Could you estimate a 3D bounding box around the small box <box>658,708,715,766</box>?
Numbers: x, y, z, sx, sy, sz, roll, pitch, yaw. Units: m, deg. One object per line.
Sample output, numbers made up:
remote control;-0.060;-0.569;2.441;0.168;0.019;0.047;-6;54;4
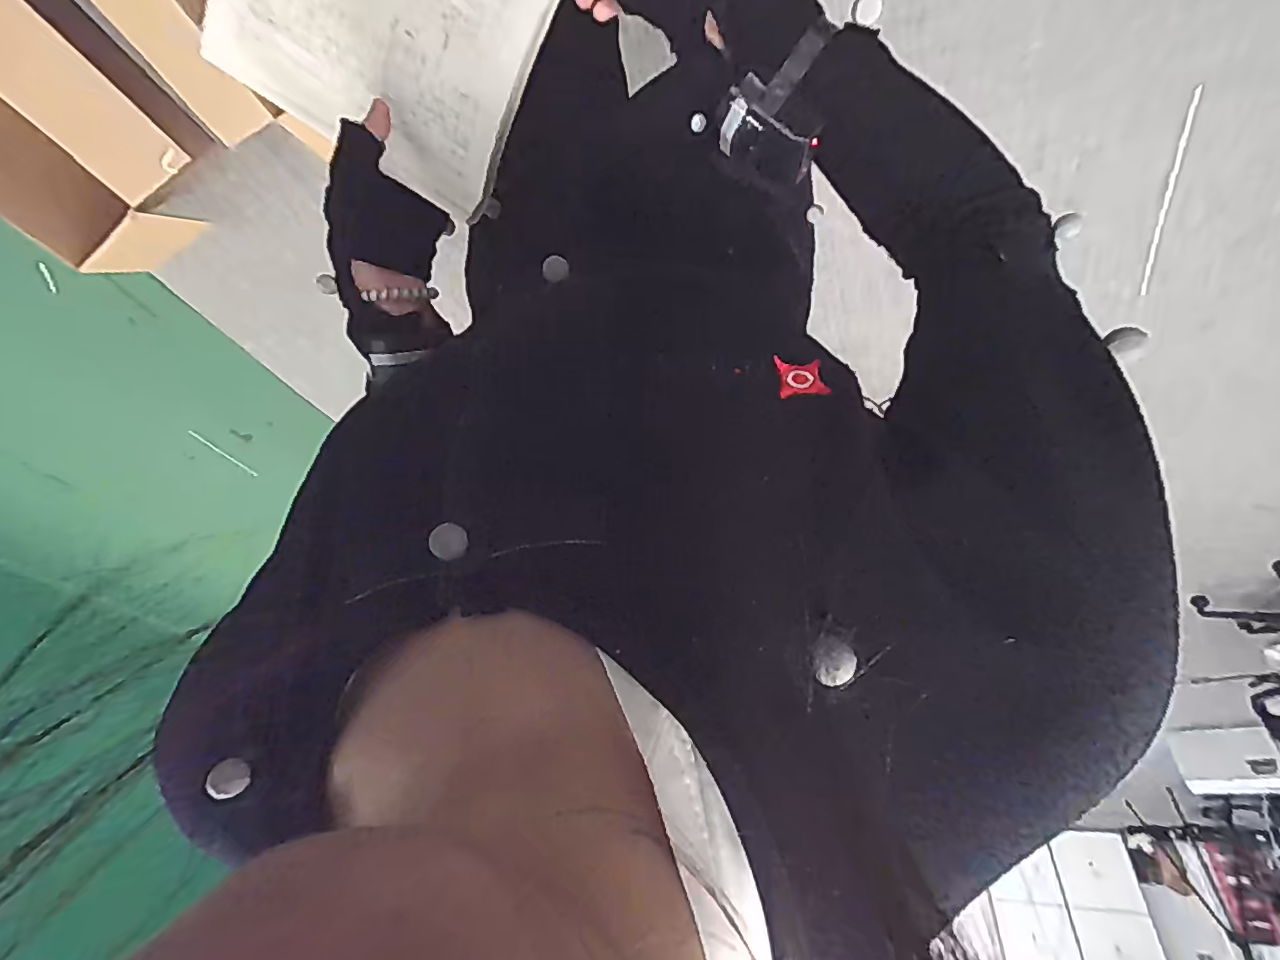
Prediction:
small box;0.186;0.997;2.104;0.179;0.176;0.168;-9;140;21
